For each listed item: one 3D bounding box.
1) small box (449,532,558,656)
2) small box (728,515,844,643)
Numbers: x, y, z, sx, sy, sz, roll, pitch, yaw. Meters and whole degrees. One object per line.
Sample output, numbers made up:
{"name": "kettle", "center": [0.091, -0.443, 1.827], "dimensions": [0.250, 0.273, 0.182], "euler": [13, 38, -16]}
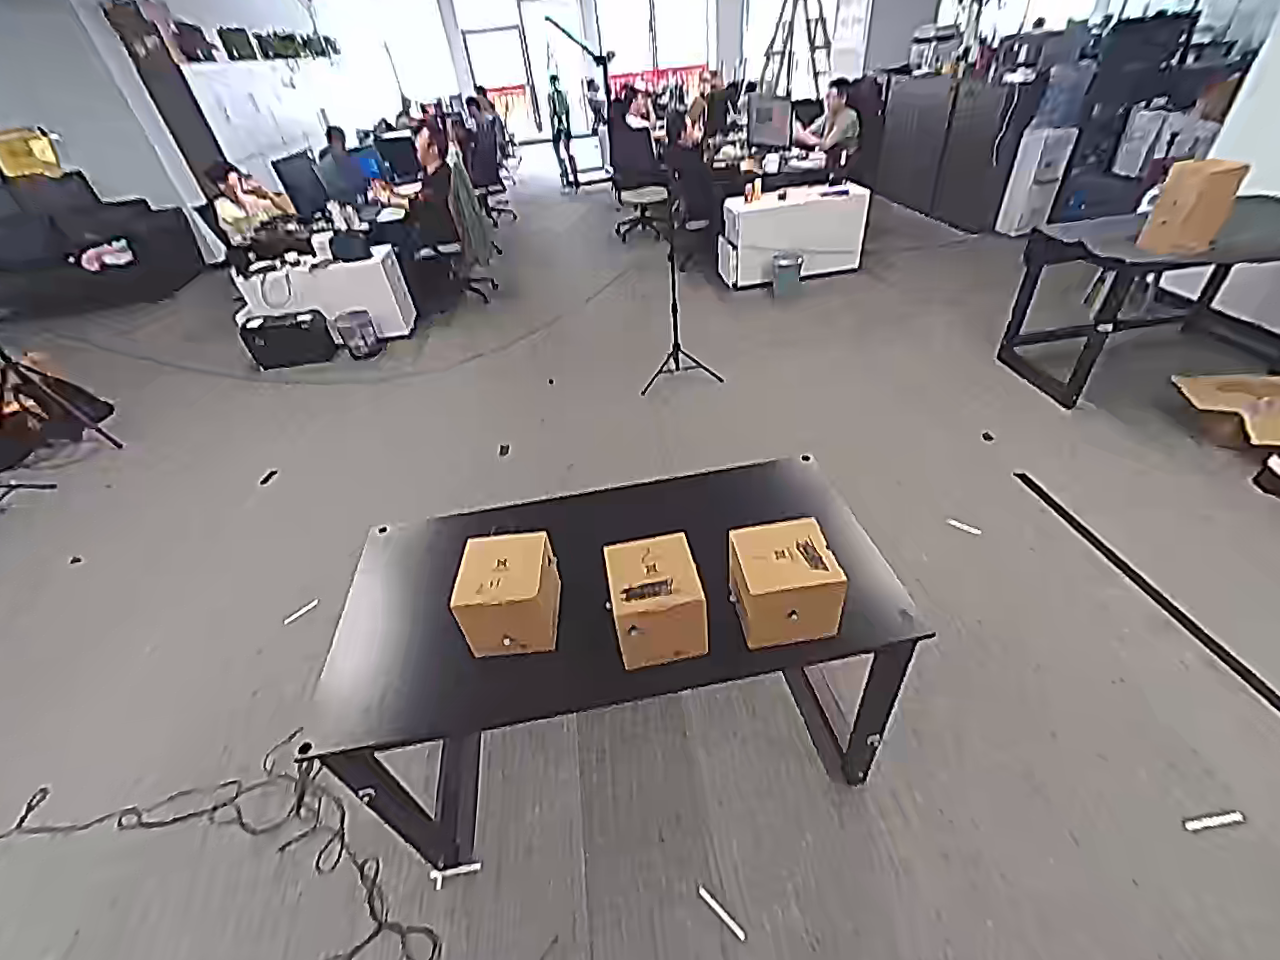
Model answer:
{"name": "small box", "center": [-0.266, 0.231, 1.101], "dimensions": [0.168, 0.176, 0.179], "euler": [-7, 39, 2]}
{"name": "small box", "center": [0.274, 0.195, 1.056], "dimensions": [0.179, 0.176, 0.168], "euler": [-10, 39, -1]}
